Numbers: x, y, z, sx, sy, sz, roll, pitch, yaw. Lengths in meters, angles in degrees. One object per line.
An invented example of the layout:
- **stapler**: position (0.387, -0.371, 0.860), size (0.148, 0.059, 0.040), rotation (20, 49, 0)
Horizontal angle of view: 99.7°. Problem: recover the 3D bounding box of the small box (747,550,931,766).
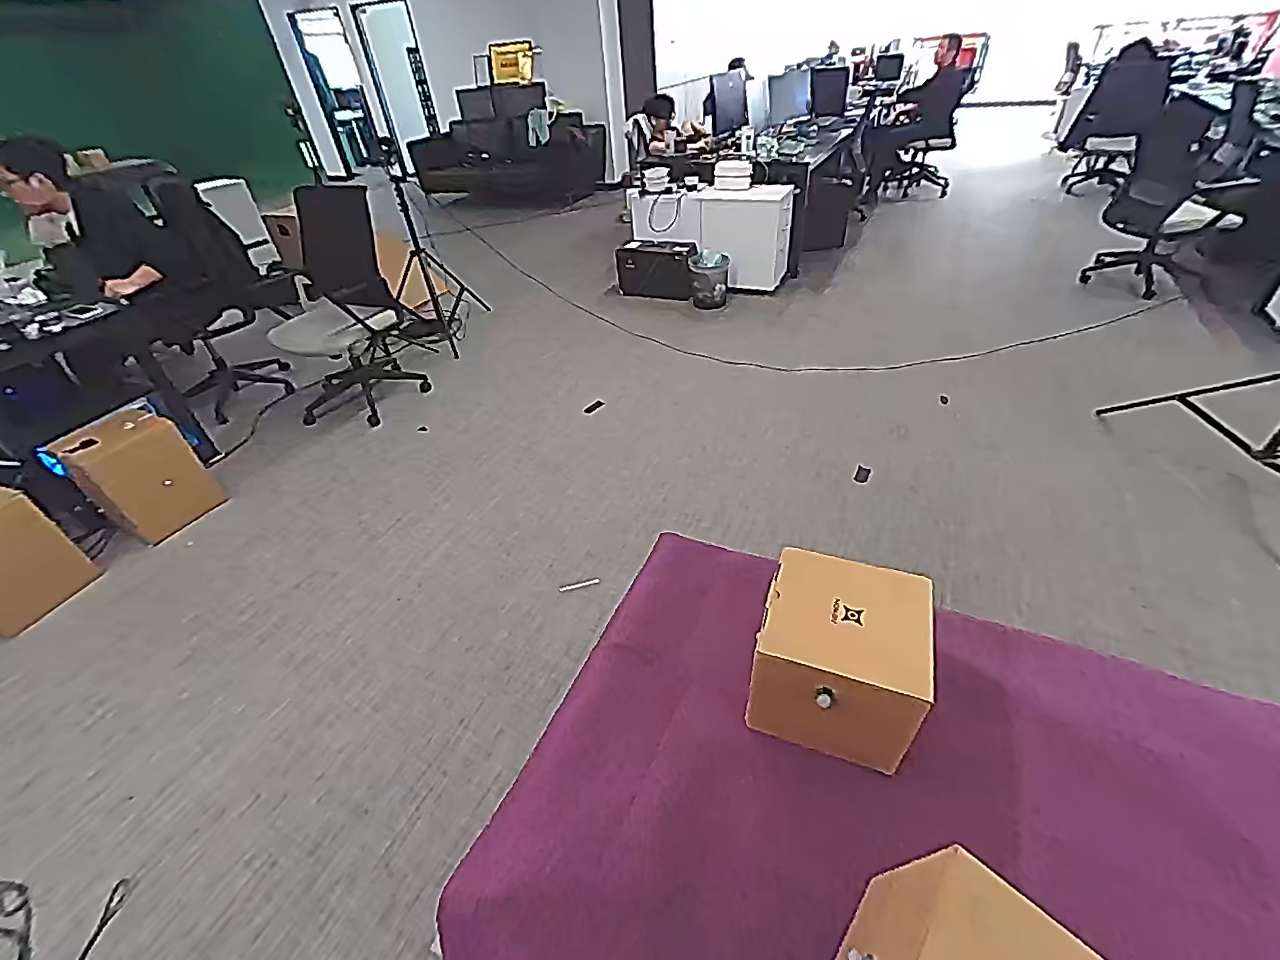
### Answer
- **small box**: position (0.238, 0.217, 0.661), size (0.179, 0.176, 0.168), rotation (11, 42, 19)
